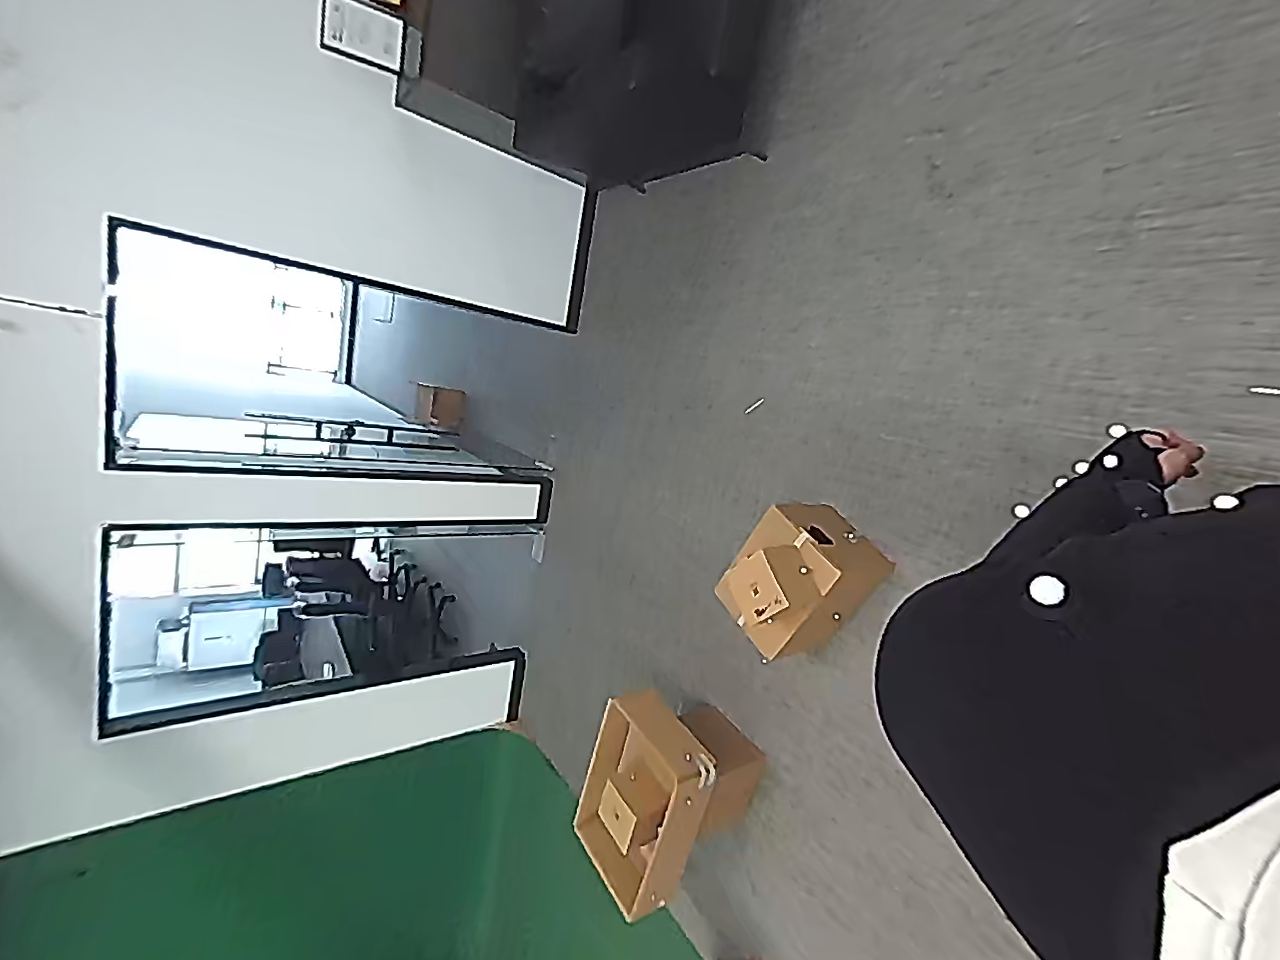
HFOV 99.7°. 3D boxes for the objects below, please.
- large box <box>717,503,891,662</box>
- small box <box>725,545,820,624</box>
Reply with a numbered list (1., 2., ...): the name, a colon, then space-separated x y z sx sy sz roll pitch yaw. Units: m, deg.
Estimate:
1. large box: 0.533 0.322 1.786 0.320 0.320 0.408 52 127 40
2. small box: 0.387 0.302 1.577 0.168 0.176 0.179 -45 56 40
